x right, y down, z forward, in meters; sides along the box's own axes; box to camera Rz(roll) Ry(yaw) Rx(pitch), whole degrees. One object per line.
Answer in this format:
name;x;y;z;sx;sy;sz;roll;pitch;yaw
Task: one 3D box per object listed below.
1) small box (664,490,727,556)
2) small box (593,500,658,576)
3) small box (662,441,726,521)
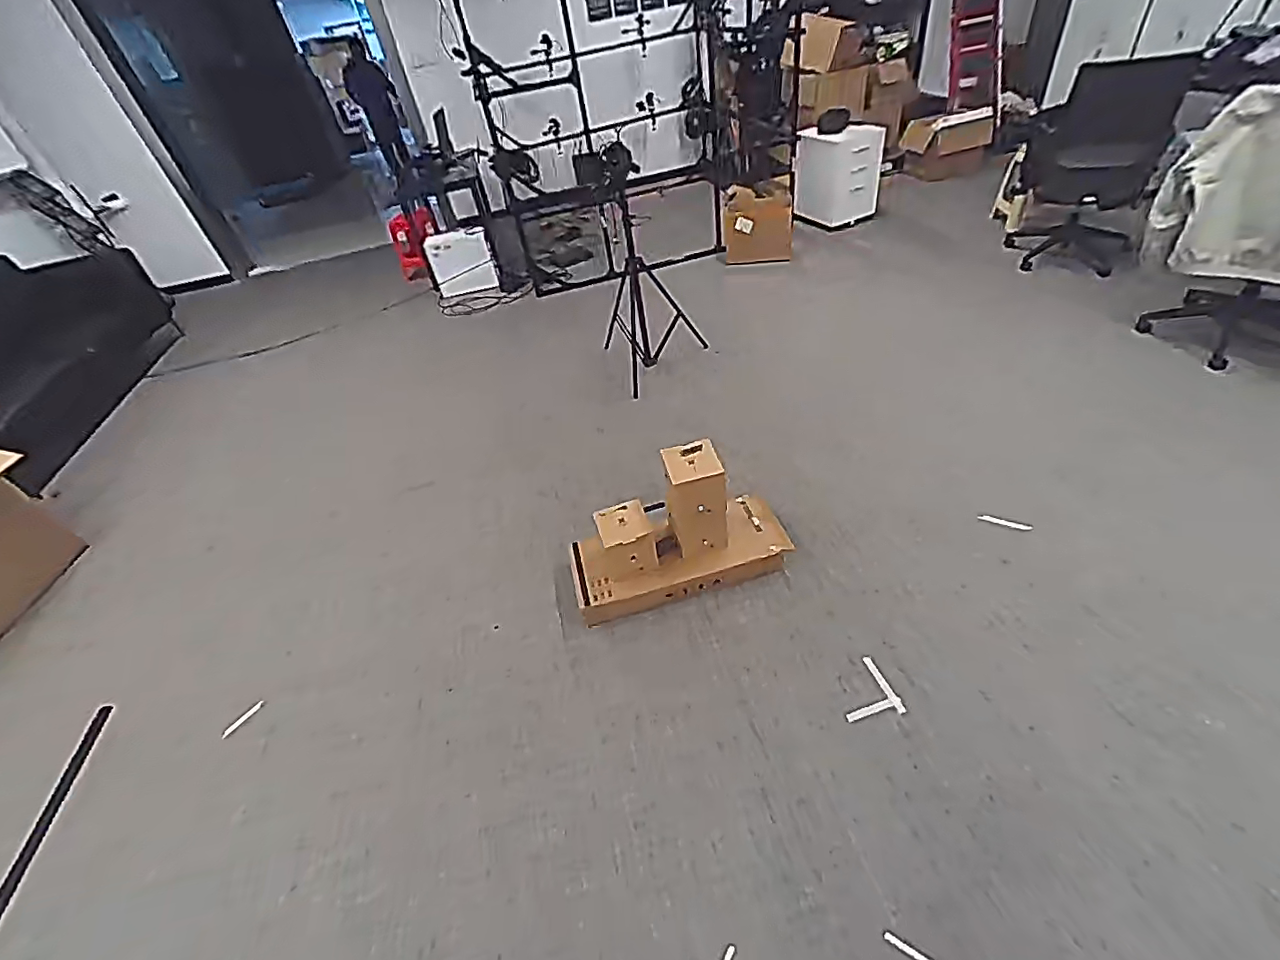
small box;0.190;0.129;1.842;0.168;0.176;0.179;-17;41;-5
small box;-0.046;0.201;1.814;0.168;0.176;0.179;-17;42;-7
small box;0.173;0.003;1.737;0.168;0.176;0.179;-14;41;-2
